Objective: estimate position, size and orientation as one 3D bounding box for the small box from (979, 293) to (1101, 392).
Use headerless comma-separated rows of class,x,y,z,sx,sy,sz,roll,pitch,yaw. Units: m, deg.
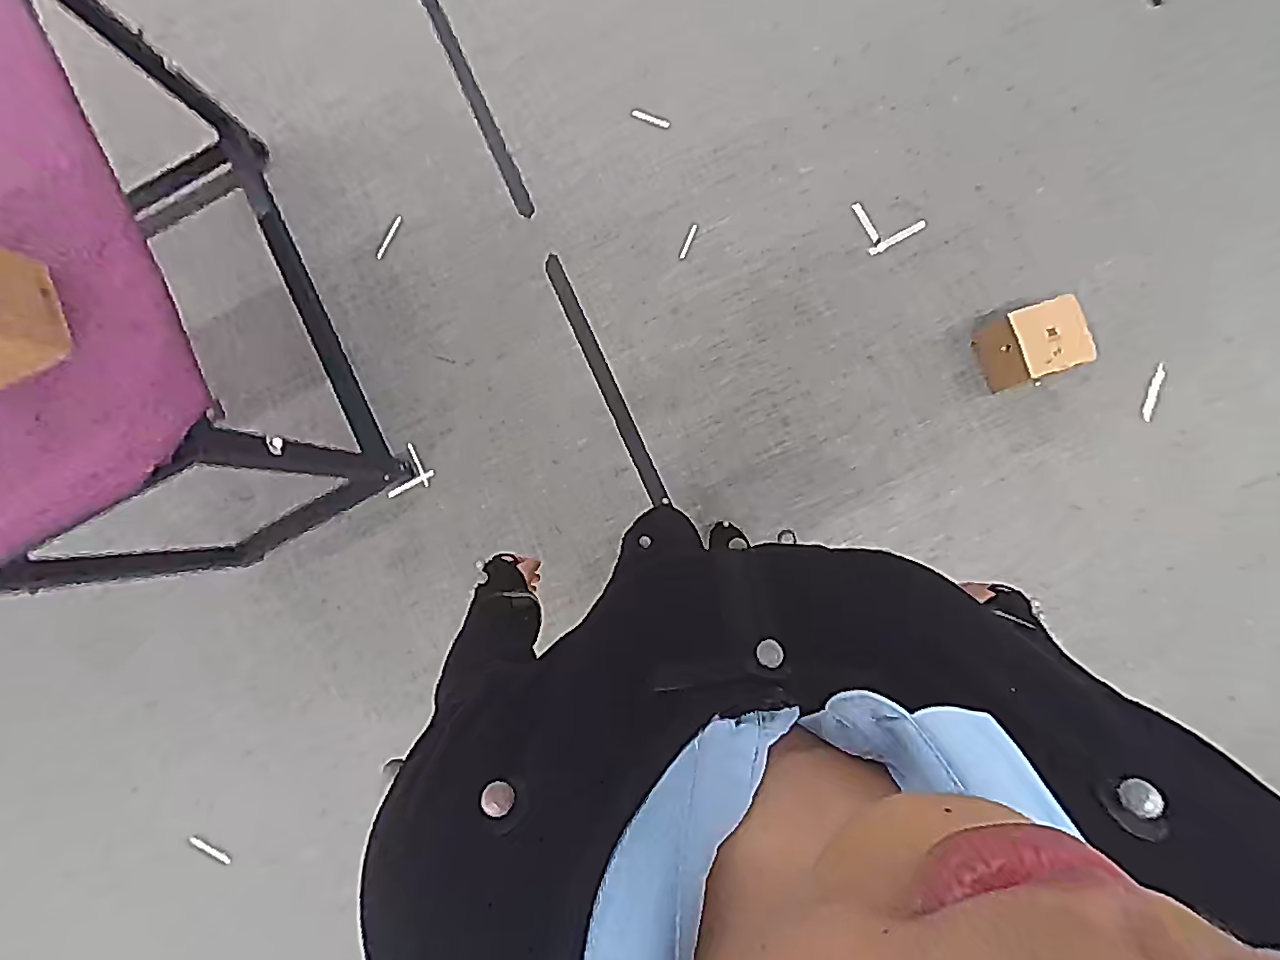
small box,1.014,-0.346,1.390,0.168,0.176,0.179,-17,85,4
